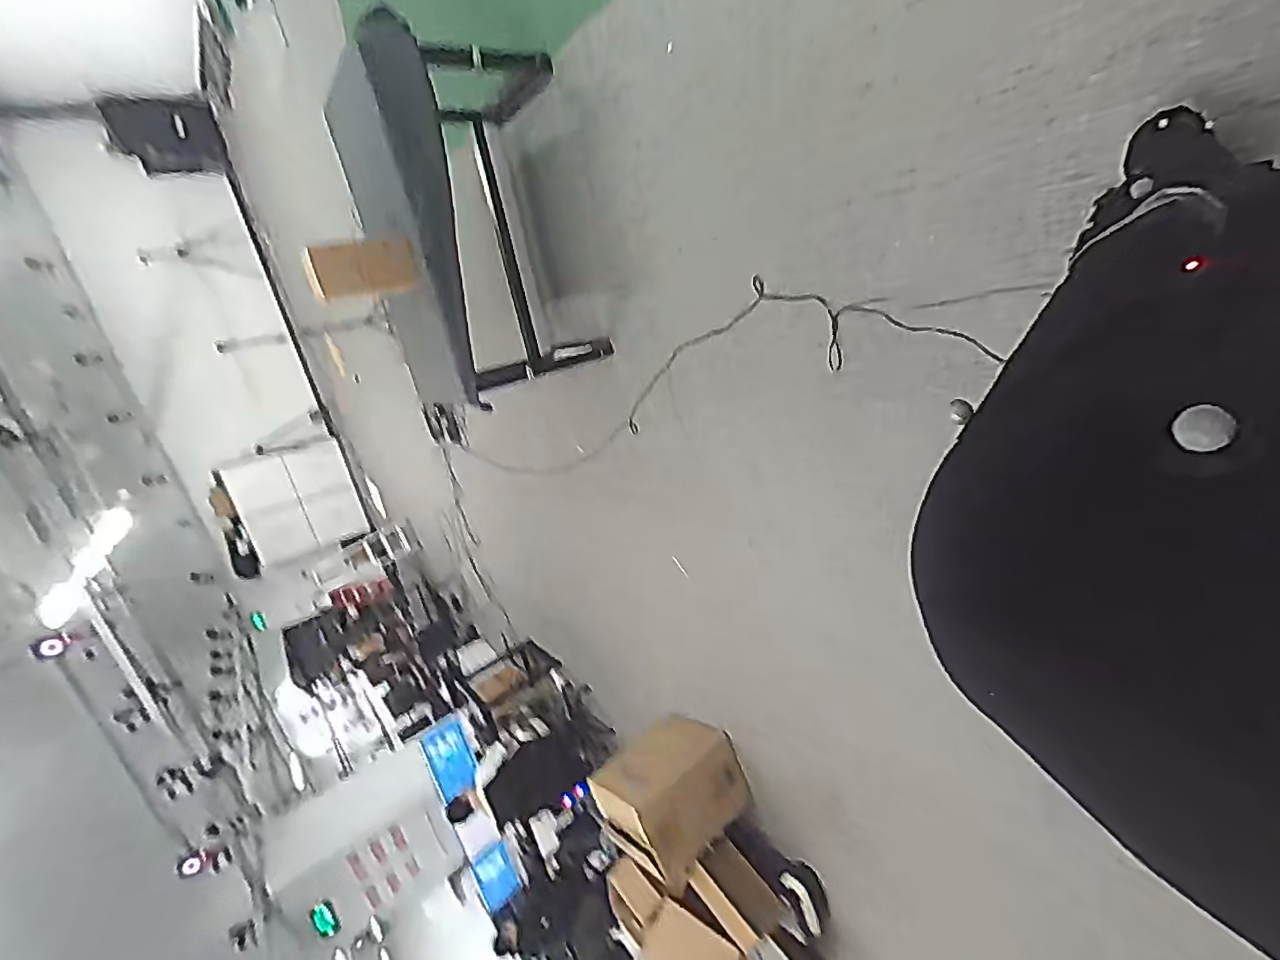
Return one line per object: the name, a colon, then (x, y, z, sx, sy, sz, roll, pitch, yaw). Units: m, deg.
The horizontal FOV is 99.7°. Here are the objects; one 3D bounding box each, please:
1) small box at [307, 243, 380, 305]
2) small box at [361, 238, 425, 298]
small box: (-1.054, -0.735, 1.926, 0.168, 0.176, 0.179, 8, 117, 52)
small box: (-0.929, -0.791, 2.011, 0.168, 0.176, 0.179, 12, 121, 53)
